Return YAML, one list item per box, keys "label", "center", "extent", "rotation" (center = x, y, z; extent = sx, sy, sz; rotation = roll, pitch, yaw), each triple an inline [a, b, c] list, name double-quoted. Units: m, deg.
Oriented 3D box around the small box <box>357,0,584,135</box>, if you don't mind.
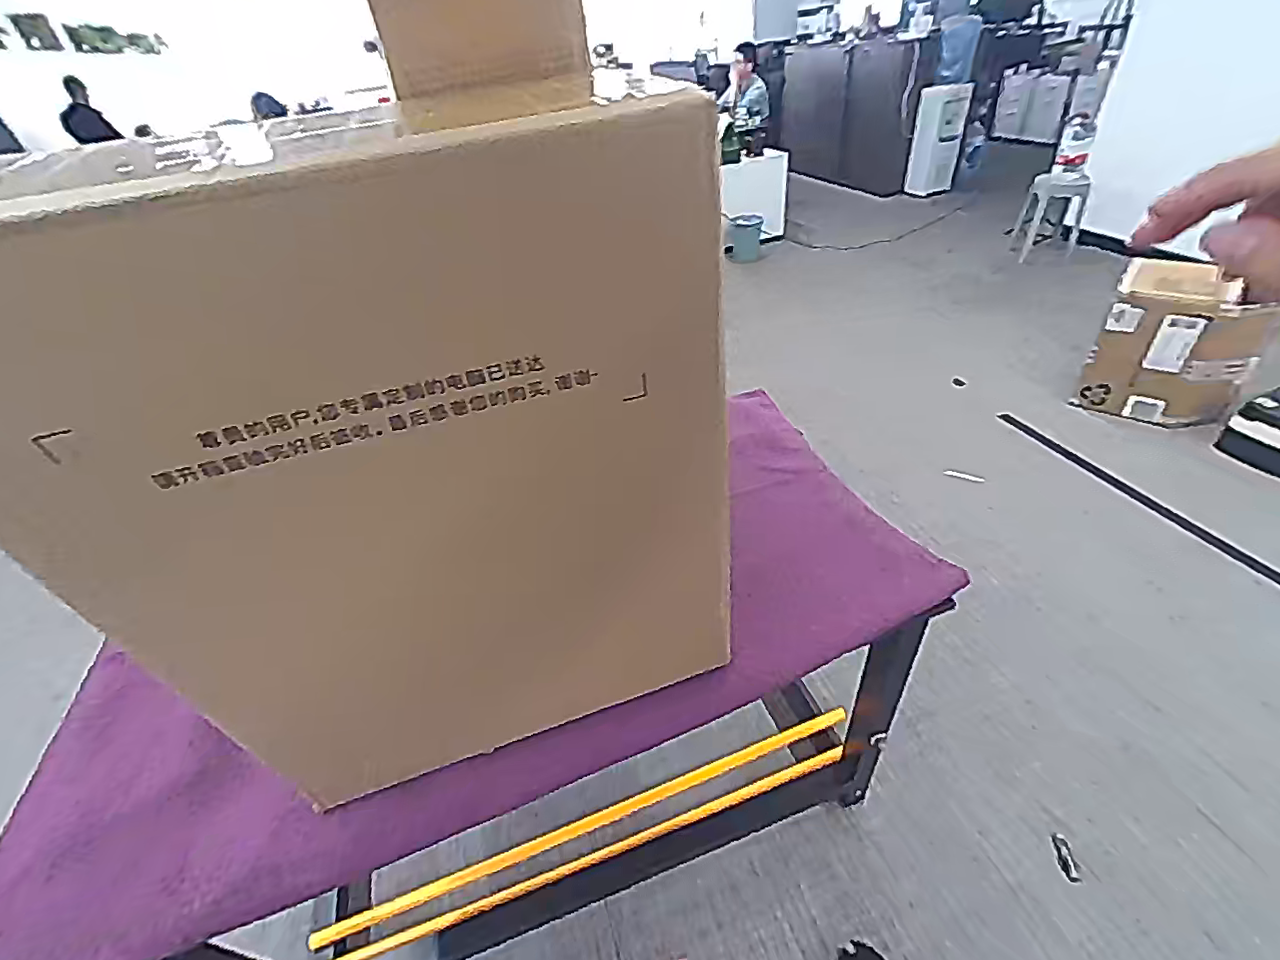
- label: "small box"
  center: [-0.158, -0.430, 0.486]
  extent: [0.179, 0.176, 0.168]
  rotation: [-21, 40, -13]
